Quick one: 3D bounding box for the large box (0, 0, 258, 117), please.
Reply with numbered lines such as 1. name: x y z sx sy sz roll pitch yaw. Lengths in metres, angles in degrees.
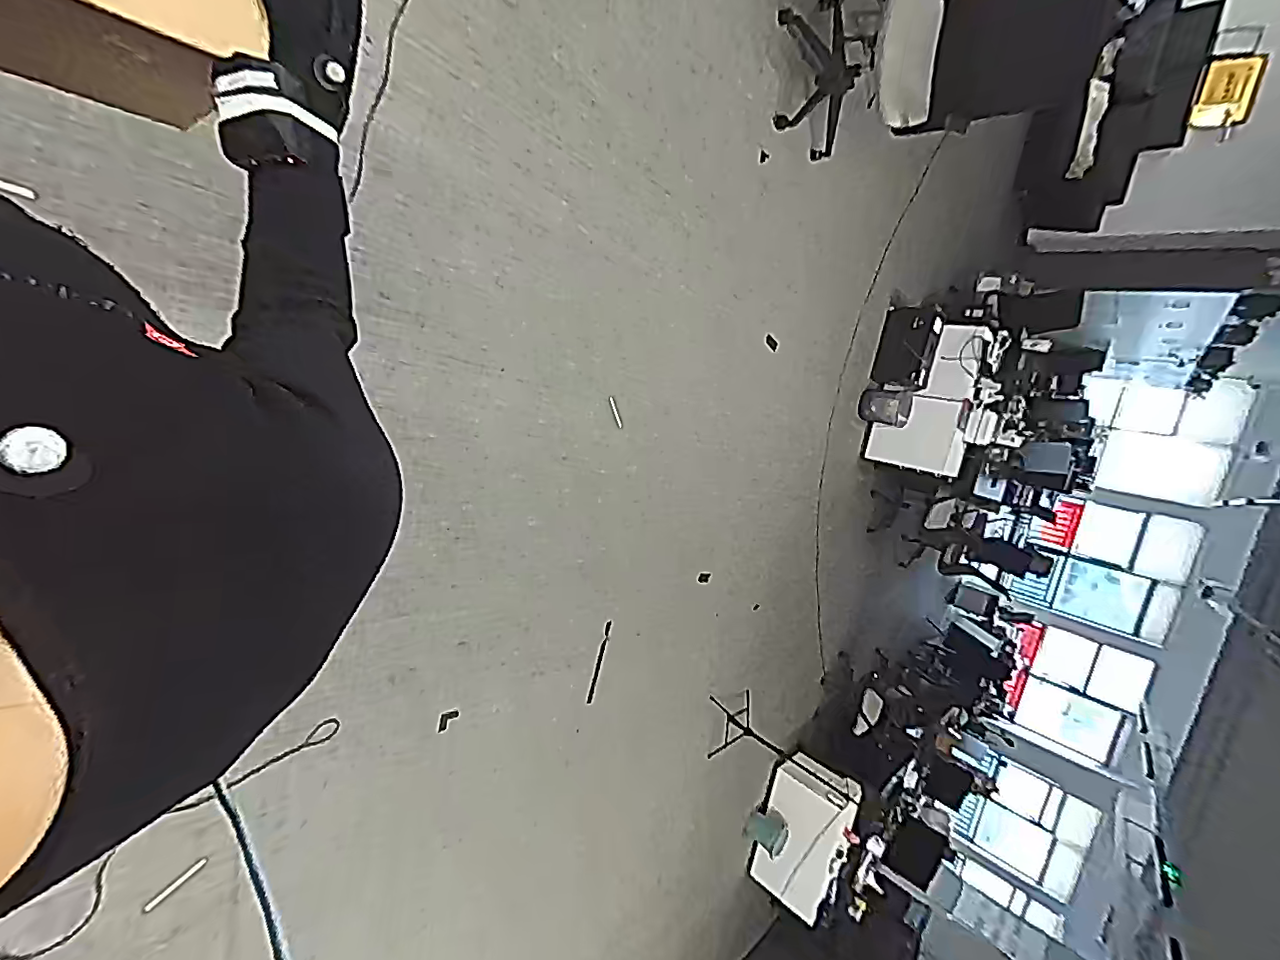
1. large box: -0.512 -0.484 0.321 0.408 0.320 0.320 -7 112 -49
